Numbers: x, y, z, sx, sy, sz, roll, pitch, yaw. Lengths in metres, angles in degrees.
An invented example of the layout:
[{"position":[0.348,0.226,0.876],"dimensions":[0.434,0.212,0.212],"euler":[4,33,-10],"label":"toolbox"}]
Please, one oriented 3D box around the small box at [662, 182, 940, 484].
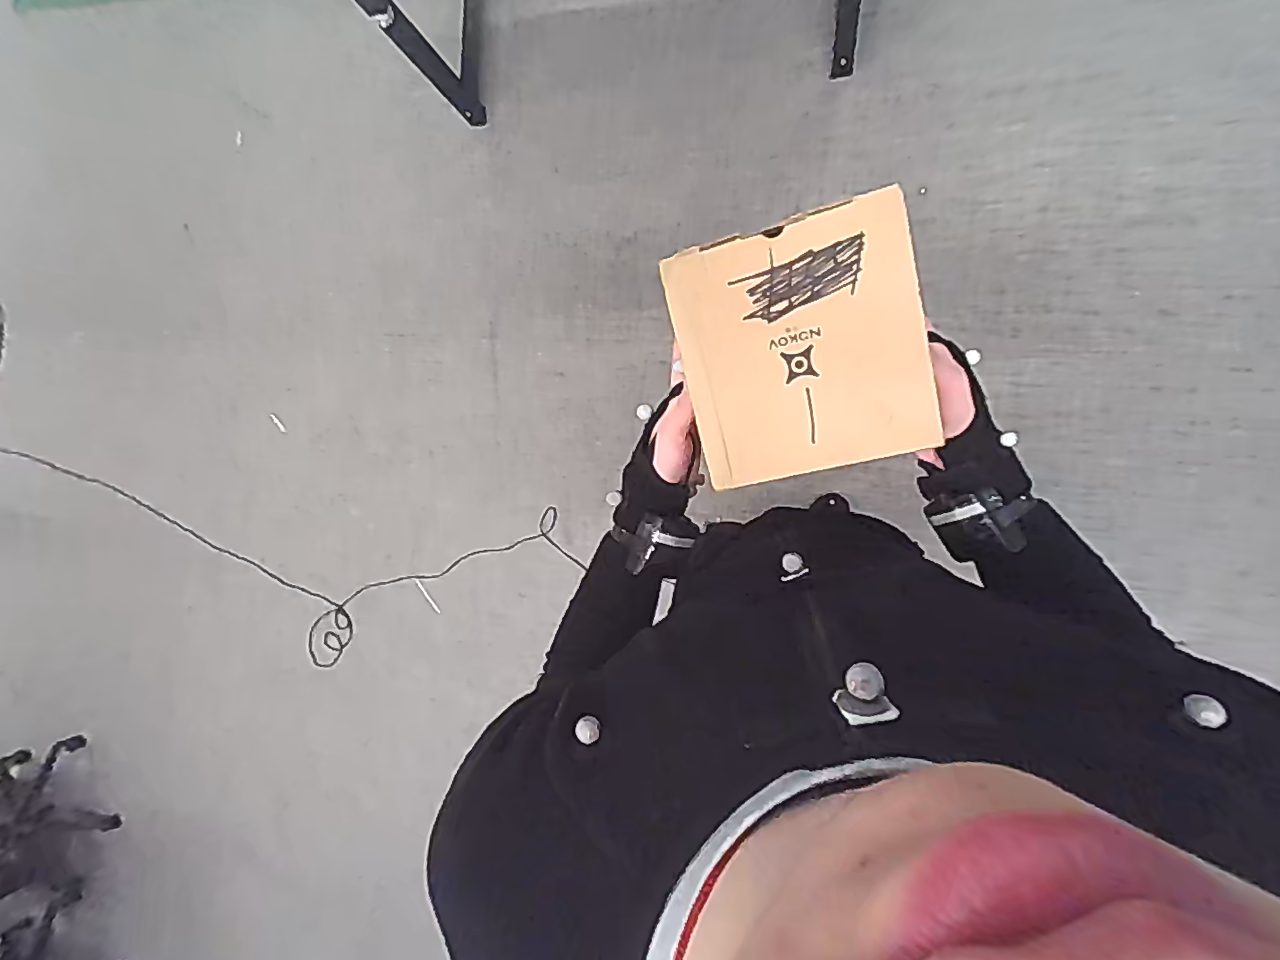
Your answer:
[{"position":[0.127,-0.111,0.455],"dimensions":[0.168,0.176,0.179],"euler":[-12,101,16],"label":"small box"}]
